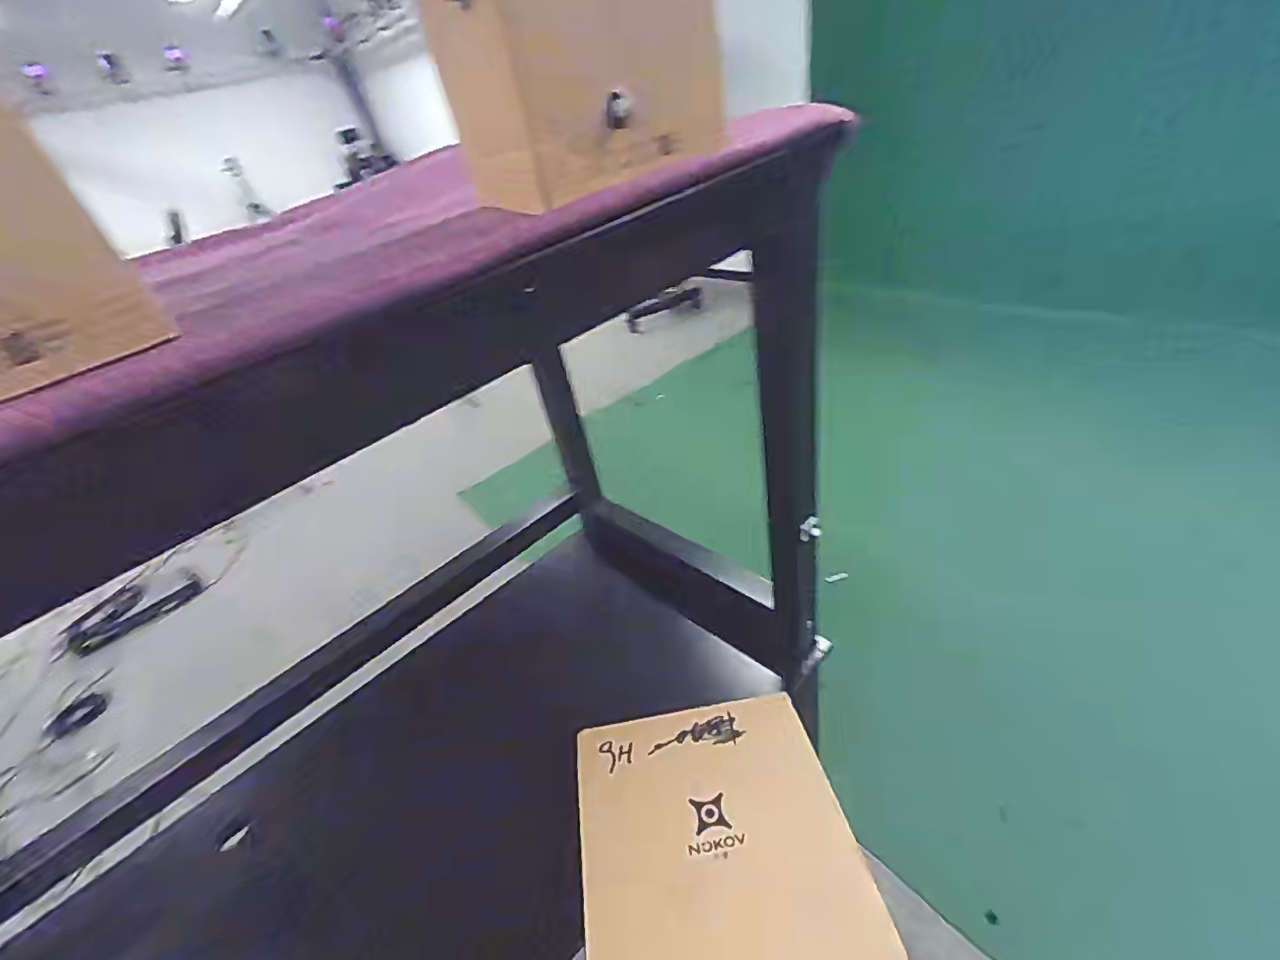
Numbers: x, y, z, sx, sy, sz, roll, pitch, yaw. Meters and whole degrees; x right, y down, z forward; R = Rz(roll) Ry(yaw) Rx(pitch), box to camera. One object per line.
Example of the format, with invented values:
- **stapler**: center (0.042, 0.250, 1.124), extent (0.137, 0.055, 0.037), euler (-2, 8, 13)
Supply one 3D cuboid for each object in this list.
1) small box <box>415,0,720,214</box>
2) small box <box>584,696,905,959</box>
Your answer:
- **small box**: center (-0.057, -0.321, 0.423), extent (0.168, 0.176, 0.179), euler (-29, 41, -19)
- **small box**: center (0.055, 0.287, 0.377), extent (0.168, 0.176, 0.179), euler (-7, 32, -4)
